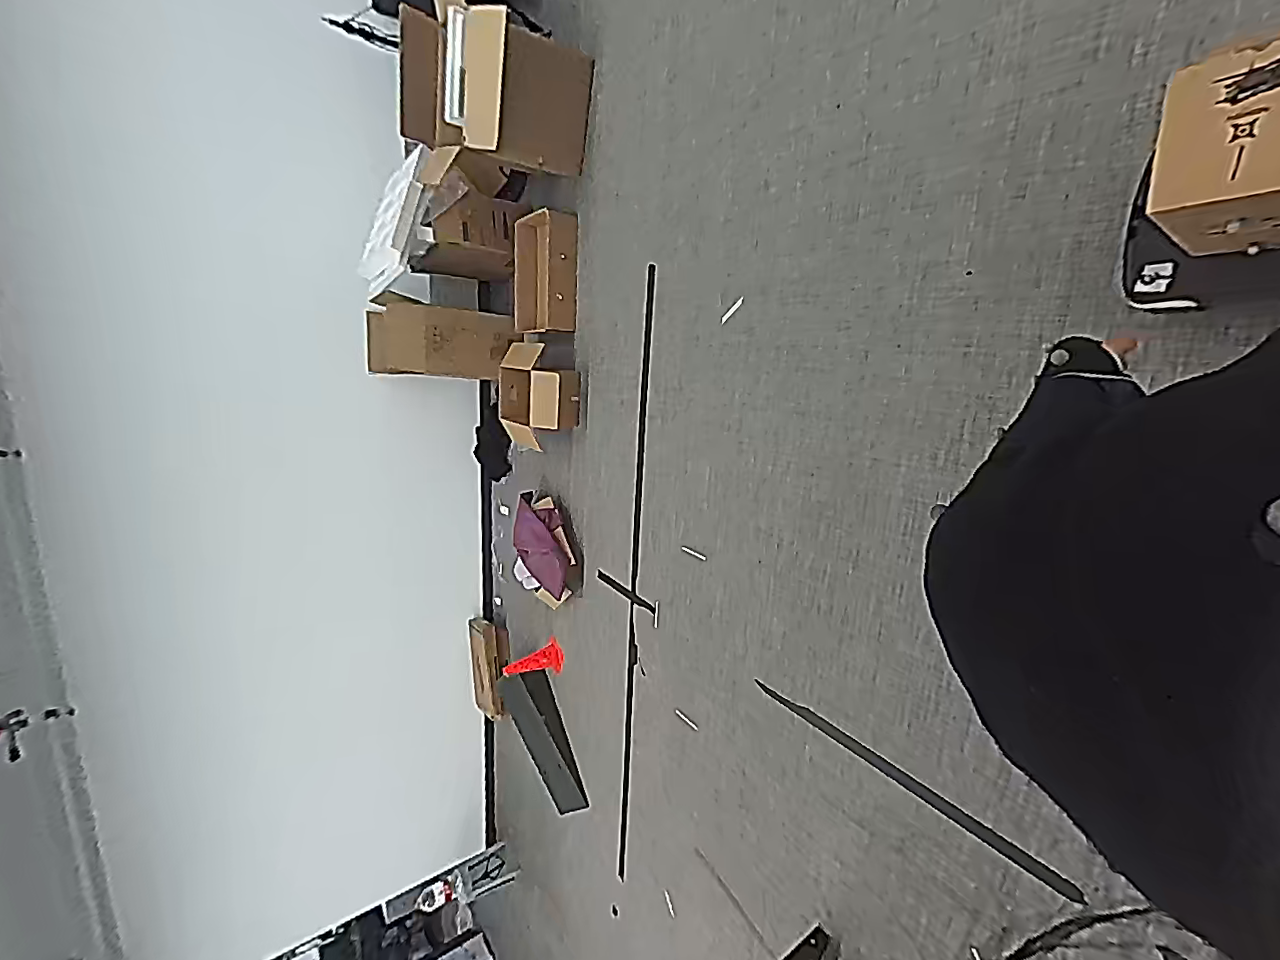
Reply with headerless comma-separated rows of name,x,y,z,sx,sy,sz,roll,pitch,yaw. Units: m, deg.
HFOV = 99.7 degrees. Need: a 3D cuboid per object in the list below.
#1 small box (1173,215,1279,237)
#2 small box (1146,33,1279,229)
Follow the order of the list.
small box,0.936,-0.458,0.800,0.168,0.176,0.179,17,109,52
small box,0.803,-0.449,0.704,0.168,0.176,0.179,15,108,52
